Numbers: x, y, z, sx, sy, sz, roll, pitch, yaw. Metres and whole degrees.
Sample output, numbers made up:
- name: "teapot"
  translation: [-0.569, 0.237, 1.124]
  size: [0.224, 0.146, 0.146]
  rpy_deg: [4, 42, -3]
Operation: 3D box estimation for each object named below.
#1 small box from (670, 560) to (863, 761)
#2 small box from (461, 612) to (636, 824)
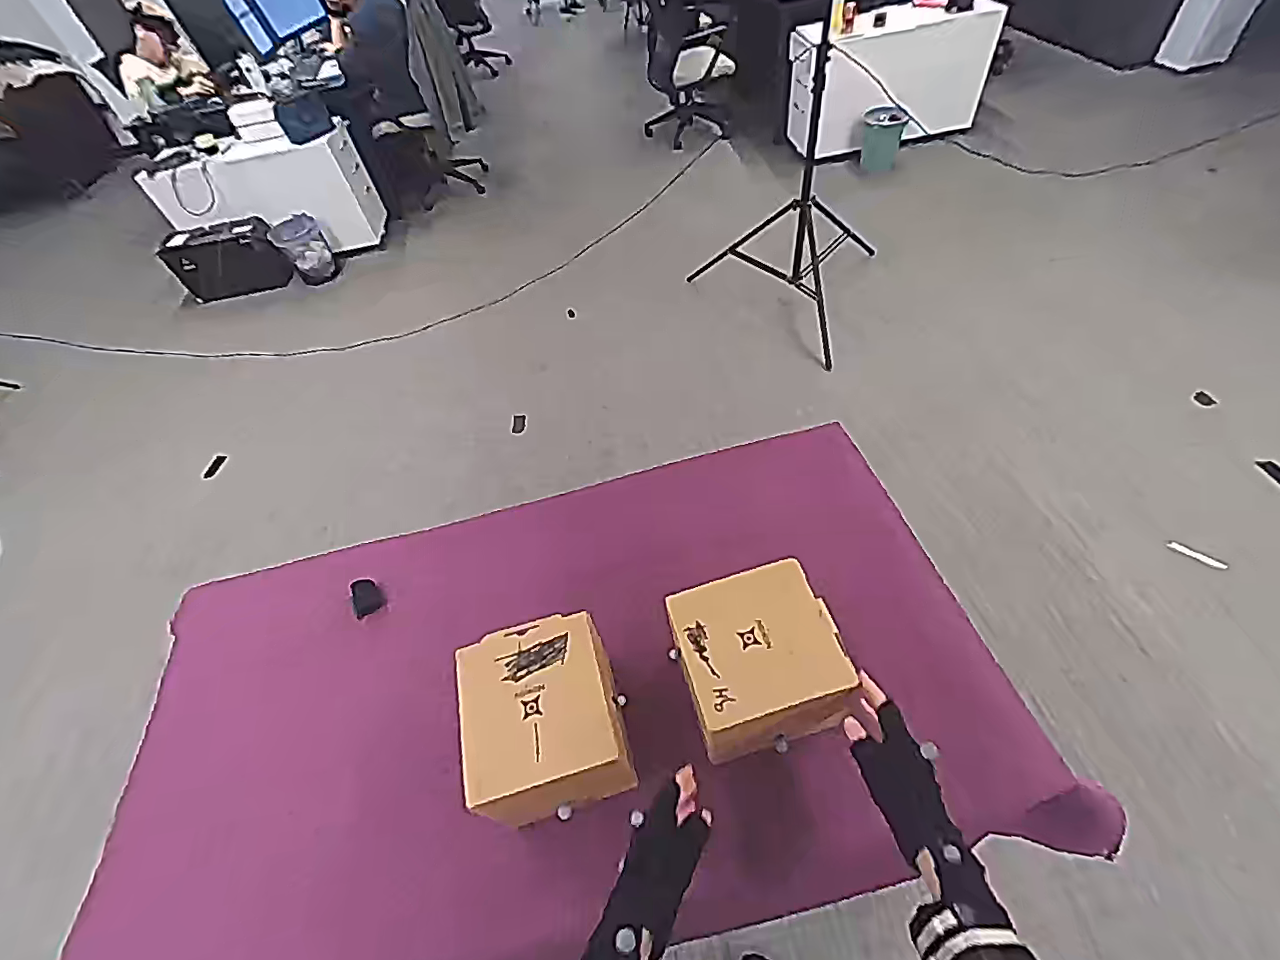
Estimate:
- name: "small box"
  translation: [0.146, 0.230, 0.681]
  size: [0.179, 0.176, 0.168]
  rpy_deg: [-16, 50, -4]
- name: "small box"
  translation: [-0.110, 0.296, 0.668]
  size: [0.168, 0.176, 0.179]
  rpy_deg: [-16, 51, -4]
